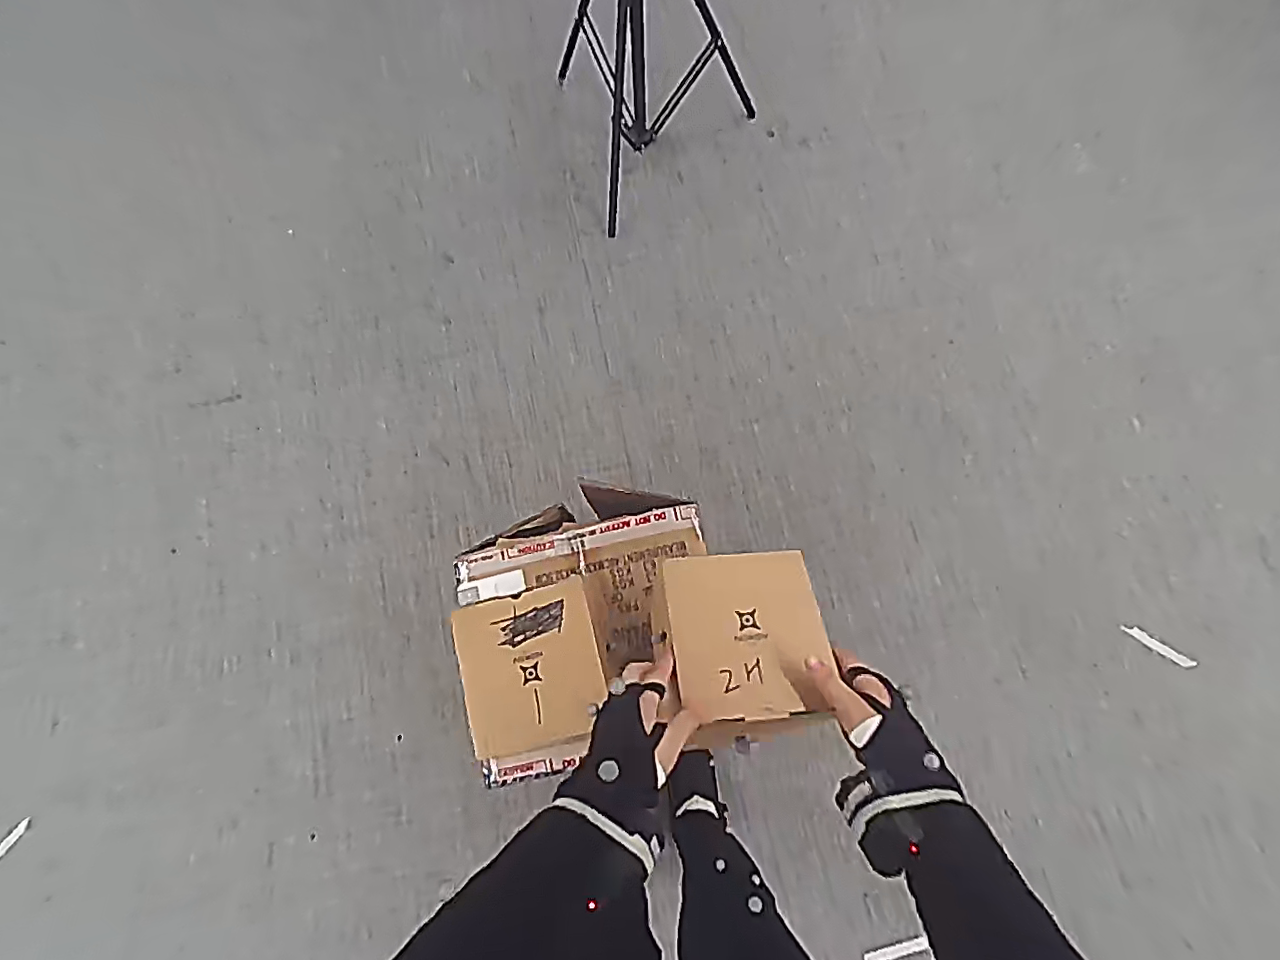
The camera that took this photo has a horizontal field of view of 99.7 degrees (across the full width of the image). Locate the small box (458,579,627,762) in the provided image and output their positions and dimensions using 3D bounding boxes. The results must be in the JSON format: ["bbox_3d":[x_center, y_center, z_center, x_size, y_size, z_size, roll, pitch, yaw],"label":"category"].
[{"bbox_3d":[-0.119,0.238,0.711,0.168,0.176,0.179,-15,78,0],"label":"small box"}]

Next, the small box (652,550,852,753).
[{"bbox_3d":[0.110,0.199,0.624,0.168,0.176,0.179,-3,55,-7],"label":"small box"}]
